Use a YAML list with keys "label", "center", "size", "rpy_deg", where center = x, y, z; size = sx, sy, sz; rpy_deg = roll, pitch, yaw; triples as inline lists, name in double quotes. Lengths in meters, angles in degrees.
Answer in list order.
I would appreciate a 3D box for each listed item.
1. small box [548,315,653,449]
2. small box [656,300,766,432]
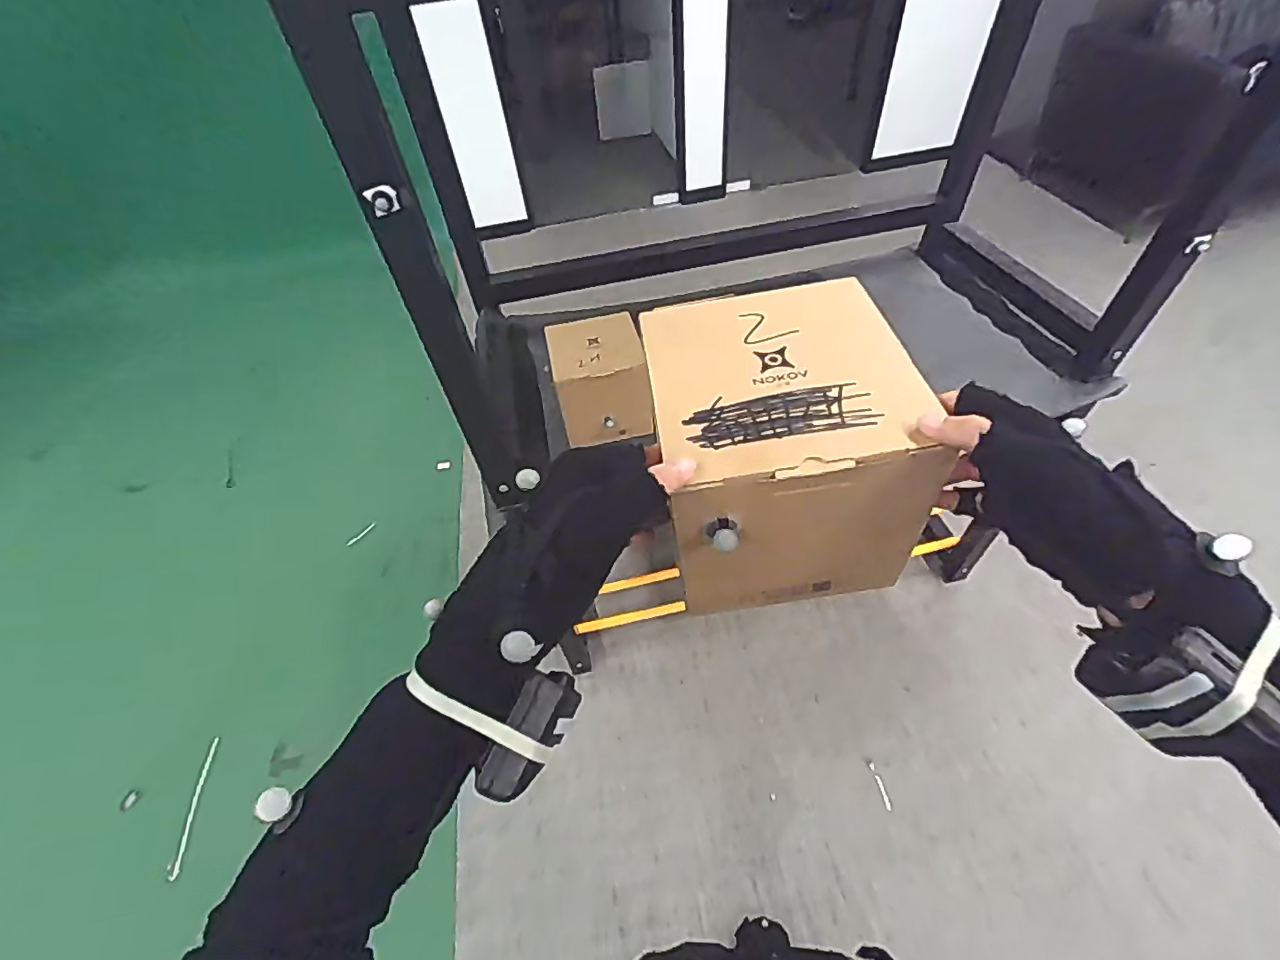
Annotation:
- label: "small box"
  center: [-0.074, -0.187, 1.037]
  size: [0.168, 0.176, 0.179]
  rpy_deg: [-12, 49, -4]
- label: "small box"
  center: [0.130, -0.221, 1.052]
  size: [0.168, 0.176, 0.179]
  rpy_deg: [-12, 49, -4]
